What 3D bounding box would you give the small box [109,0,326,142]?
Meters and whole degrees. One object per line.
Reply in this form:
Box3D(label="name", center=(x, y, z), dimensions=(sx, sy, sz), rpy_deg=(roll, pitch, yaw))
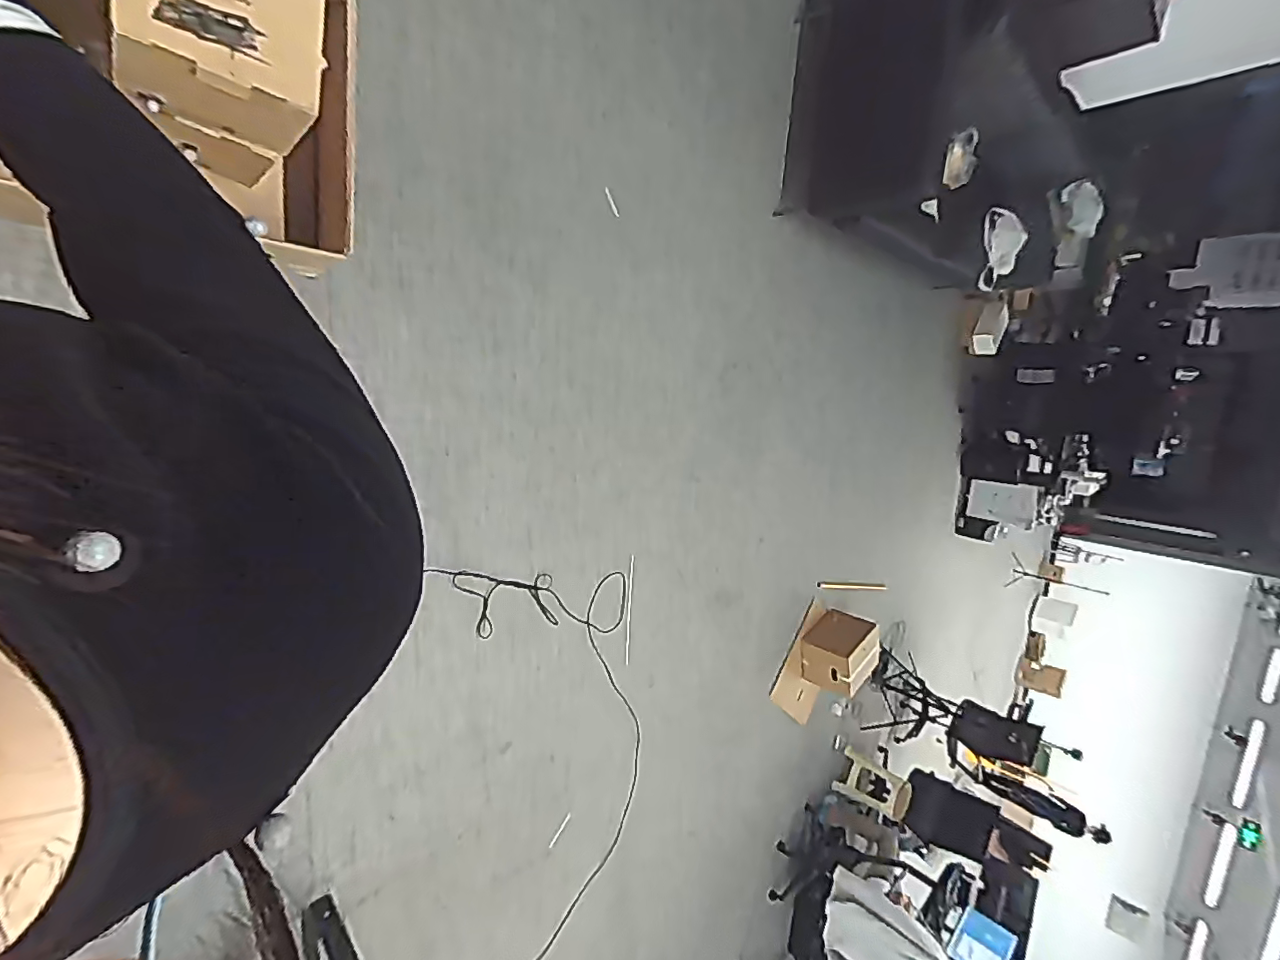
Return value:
Box3D(label="small box", center=(-0.451, -0.503, 0.581), dimensions=(0.168, 0.176, 0.179), rpy_deg=(1, 98, -44))
